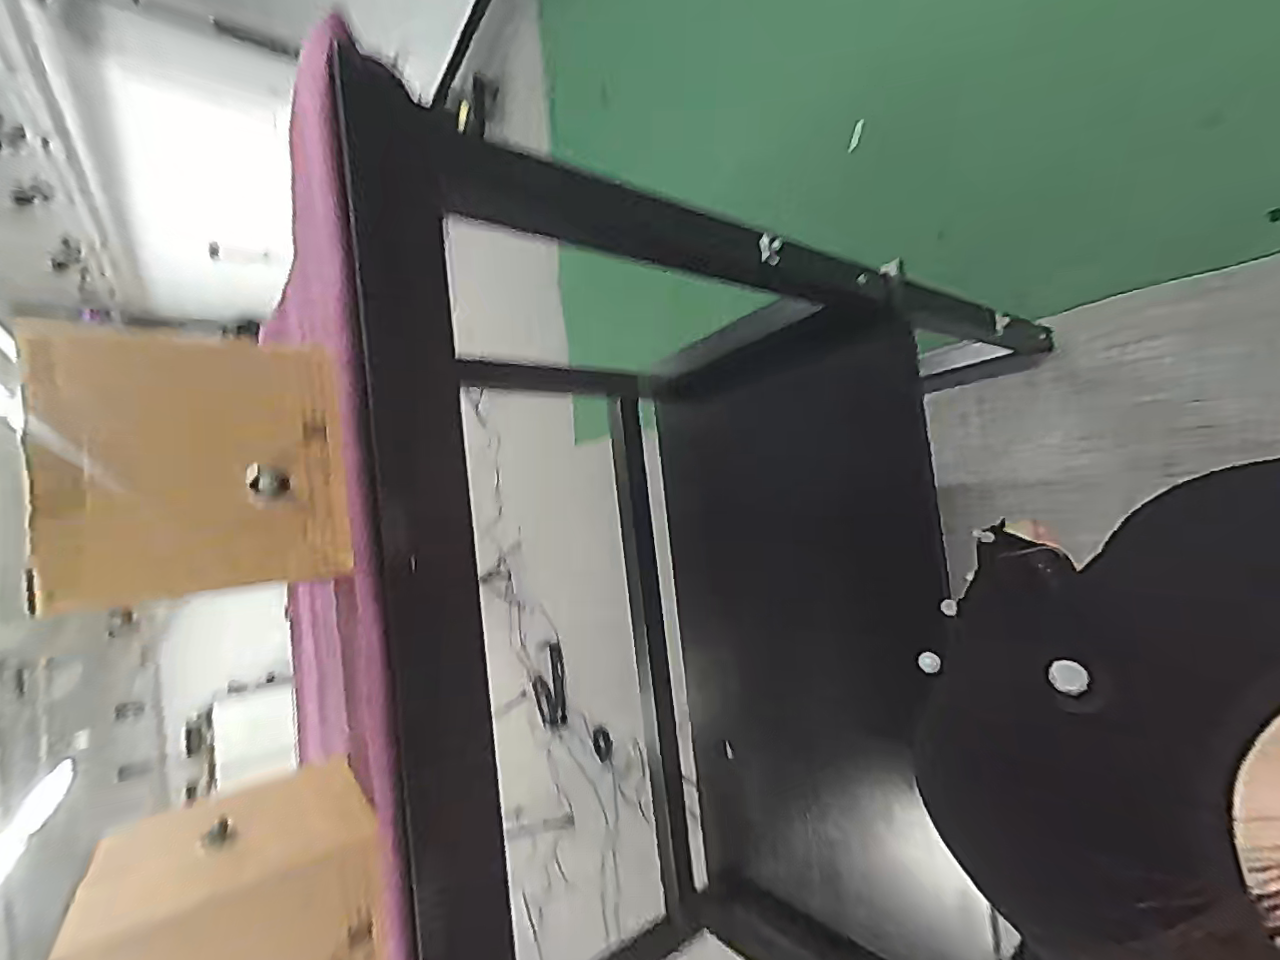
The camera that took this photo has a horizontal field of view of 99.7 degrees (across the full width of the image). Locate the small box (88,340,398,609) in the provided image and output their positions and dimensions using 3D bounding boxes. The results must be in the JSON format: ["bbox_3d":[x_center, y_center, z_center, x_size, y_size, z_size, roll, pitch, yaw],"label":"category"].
[{"bbox_3d":[-0.306,-0.002,0.437,0.179,0.176,0.168,-8,88,52],"label":"small box"}]
